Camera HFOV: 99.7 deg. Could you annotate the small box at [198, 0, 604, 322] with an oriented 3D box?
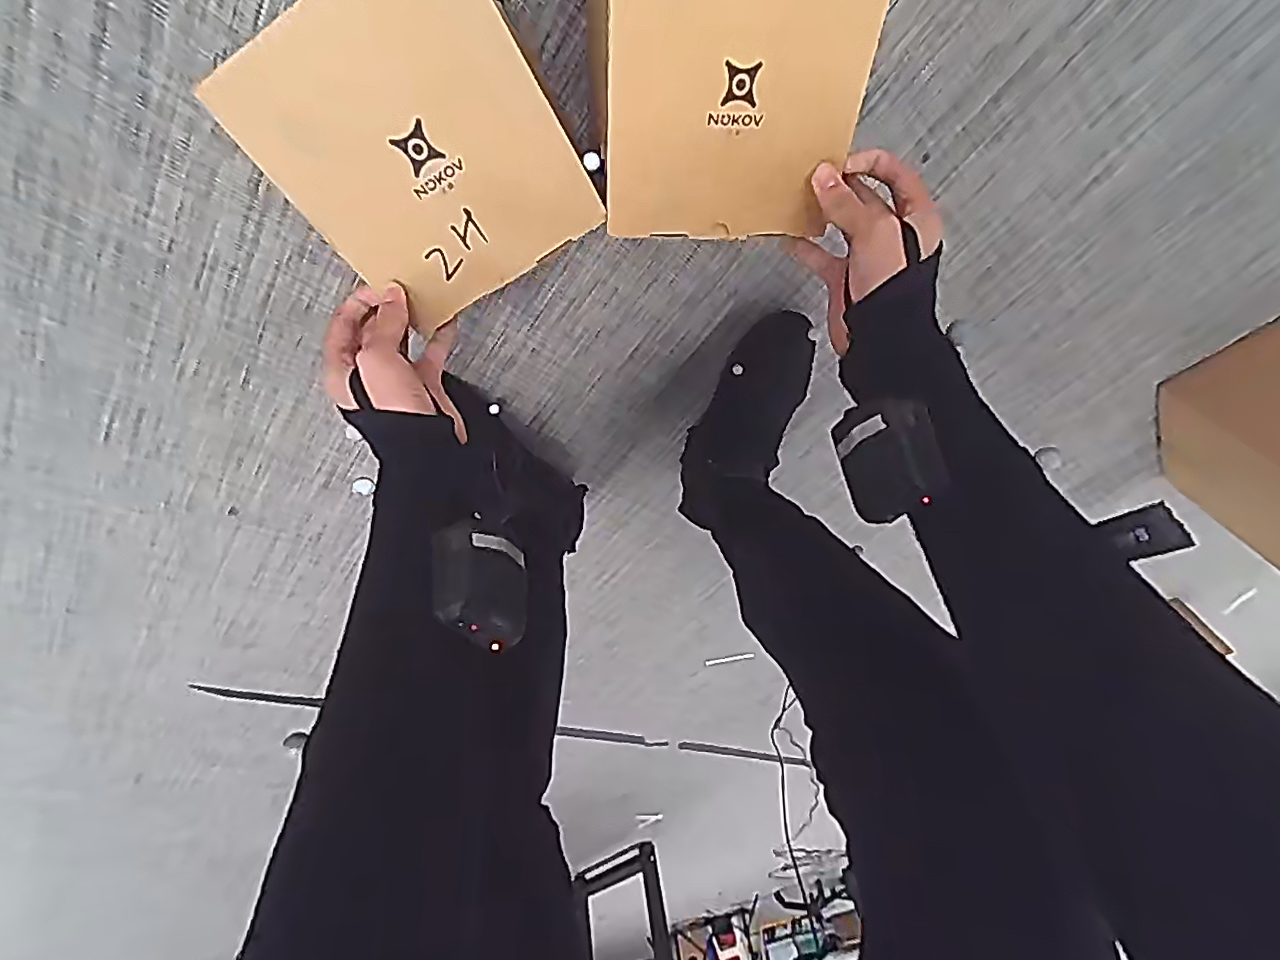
[{"bbox_3d":[-0.148,-0.257,0.390,0.168,0.176,0.179,-27,135,12],"label":"small box"}]
